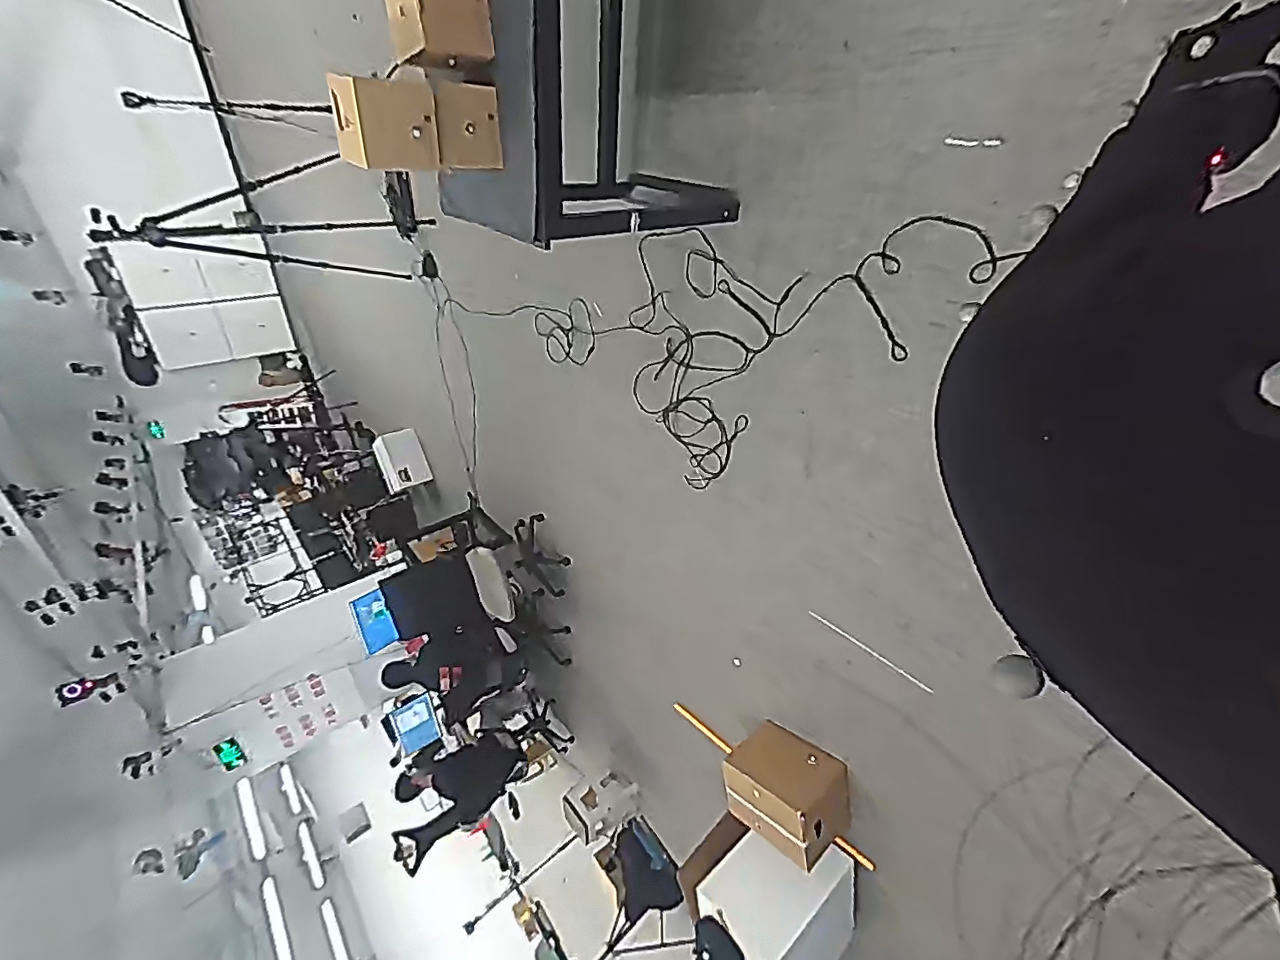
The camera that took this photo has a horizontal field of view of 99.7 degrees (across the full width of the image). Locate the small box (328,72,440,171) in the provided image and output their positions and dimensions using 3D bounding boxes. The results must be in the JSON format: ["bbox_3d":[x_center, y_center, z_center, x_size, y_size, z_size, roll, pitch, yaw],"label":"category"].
[{"bbox_3d":[-0.569,-0.799,1.213,0.179,0.176,0.168,37,135,35],"label":"small box"}]

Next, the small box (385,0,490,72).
[{"bbox_3d":[-0.448,-1.037,1.209,0.179,0.176,0.168,25,127,45],"label":"small box"}]
